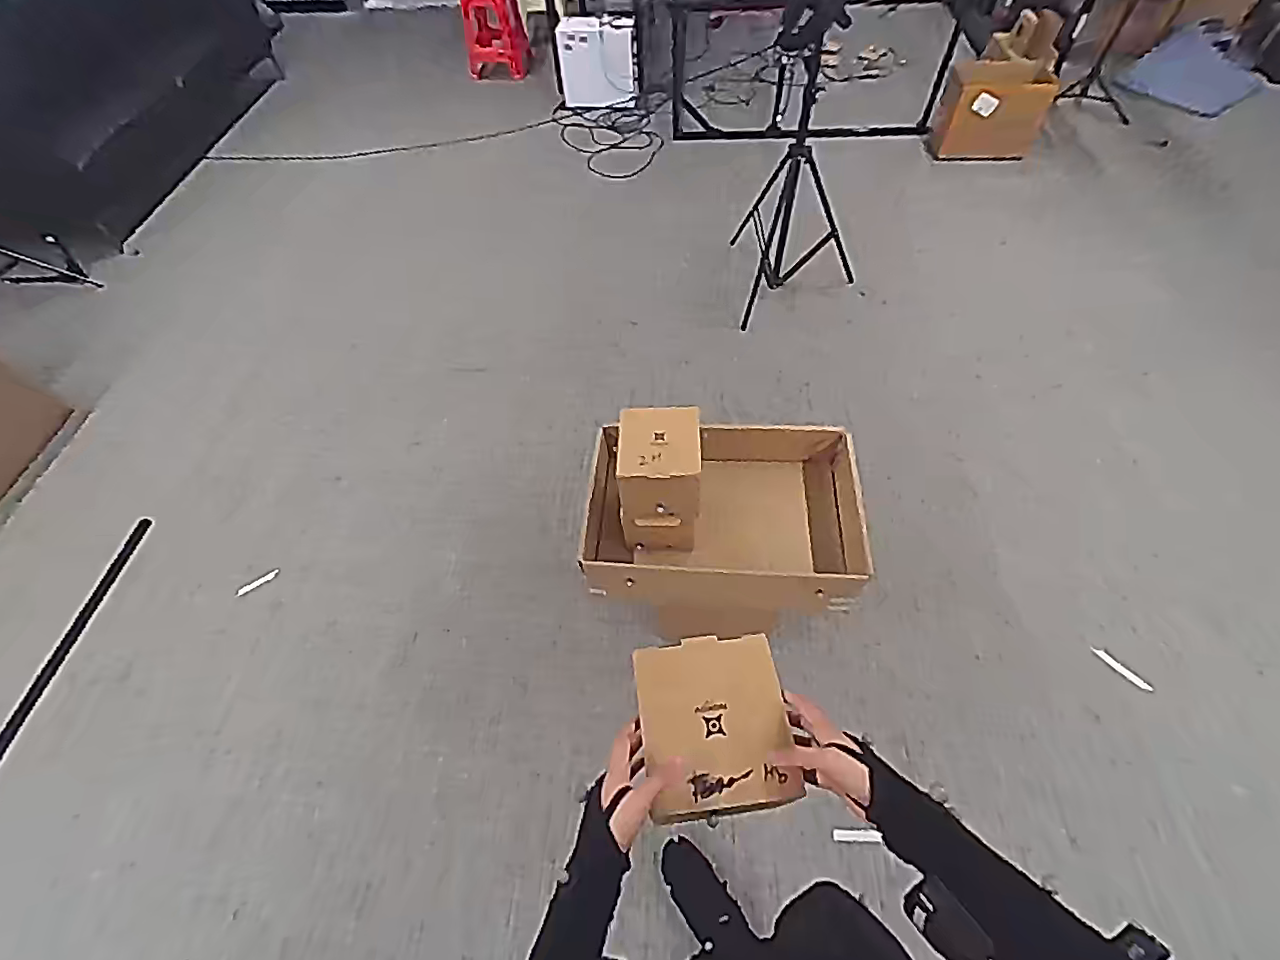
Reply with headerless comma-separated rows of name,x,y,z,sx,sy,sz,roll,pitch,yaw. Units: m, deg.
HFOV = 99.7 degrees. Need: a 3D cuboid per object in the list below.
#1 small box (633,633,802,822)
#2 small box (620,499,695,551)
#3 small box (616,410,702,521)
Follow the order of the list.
small box,0.080,0.309,0.667,0.168,0.176,0.179,-6,56,-2
small box,0.049,0.057,1.284,0.168,0.176,0.179,1,56,5
small box,0.044,-0.030,1.144,0.168,0.176,0.179,-1,57,5
